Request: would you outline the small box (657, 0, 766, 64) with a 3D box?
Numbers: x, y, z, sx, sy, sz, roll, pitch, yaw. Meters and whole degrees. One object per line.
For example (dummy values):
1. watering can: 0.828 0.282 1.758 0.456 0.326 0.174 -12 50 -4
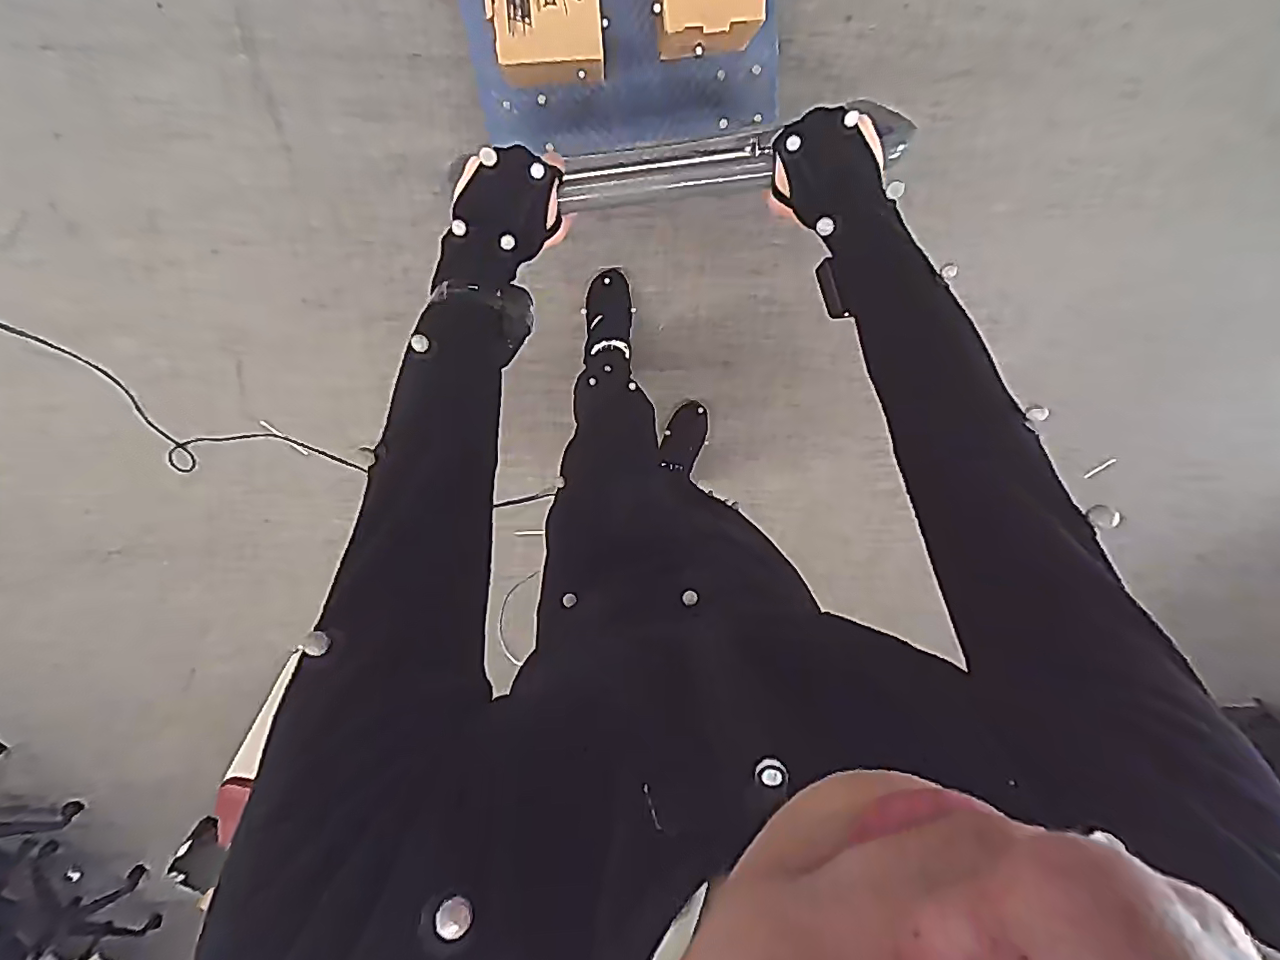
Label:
1. small box: 0.117 -0.857 0.937 0.168 0.176 0.179 -7 116 1
